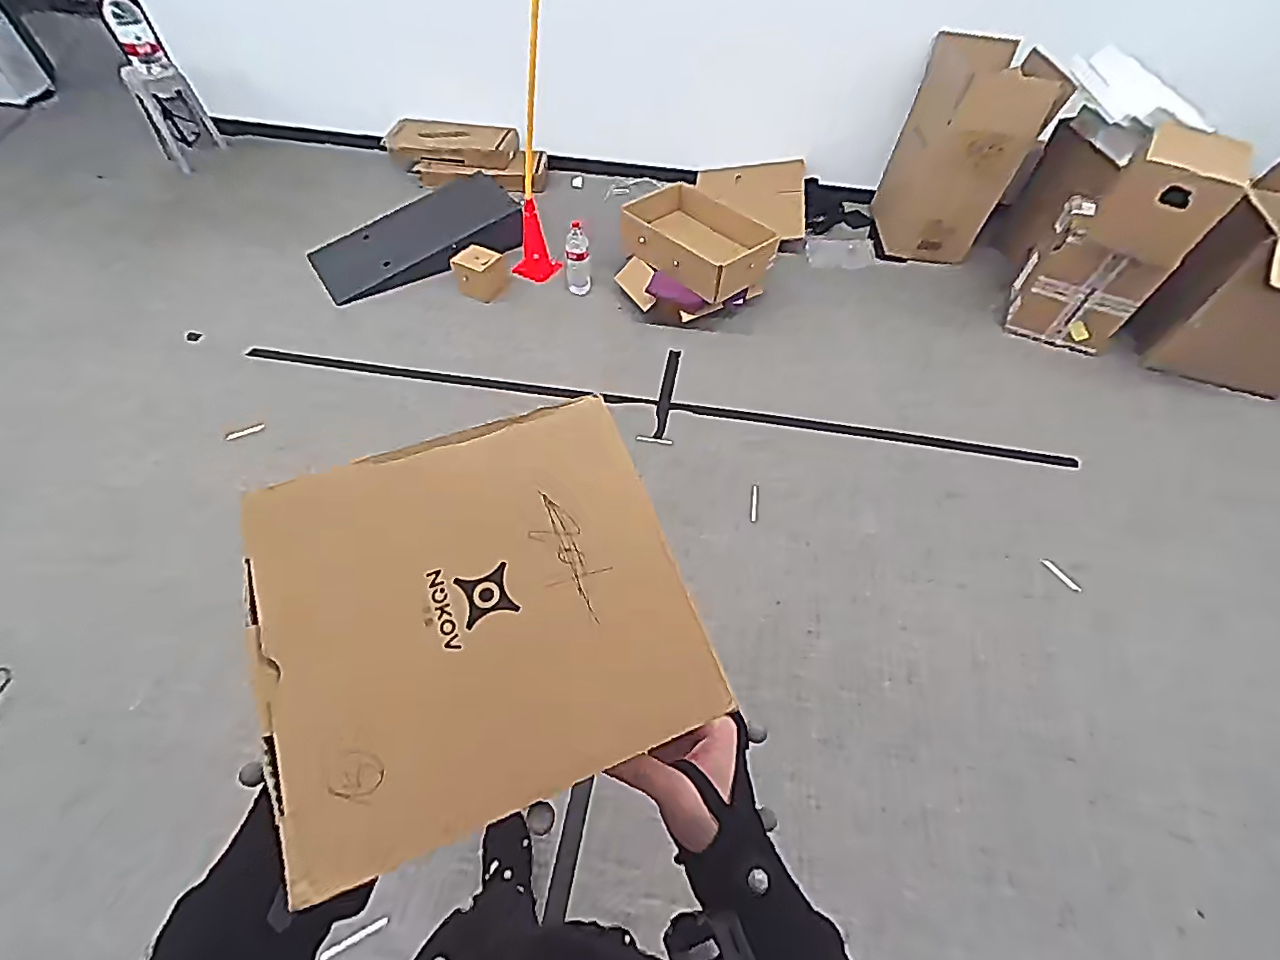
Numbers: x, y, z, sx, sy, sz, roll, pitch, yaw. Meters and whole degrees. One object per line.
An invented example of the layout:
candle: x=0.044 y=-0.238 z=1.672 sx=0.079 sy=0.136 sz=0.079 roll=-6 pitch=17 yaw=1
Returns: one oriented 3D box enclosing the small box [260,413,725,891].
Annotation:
small box: x=-0.077 y=0.092 z=0.317 sx=0.179 sy=0.176 sz=0.168 roll=-18 pitch=69 yaw=-14
